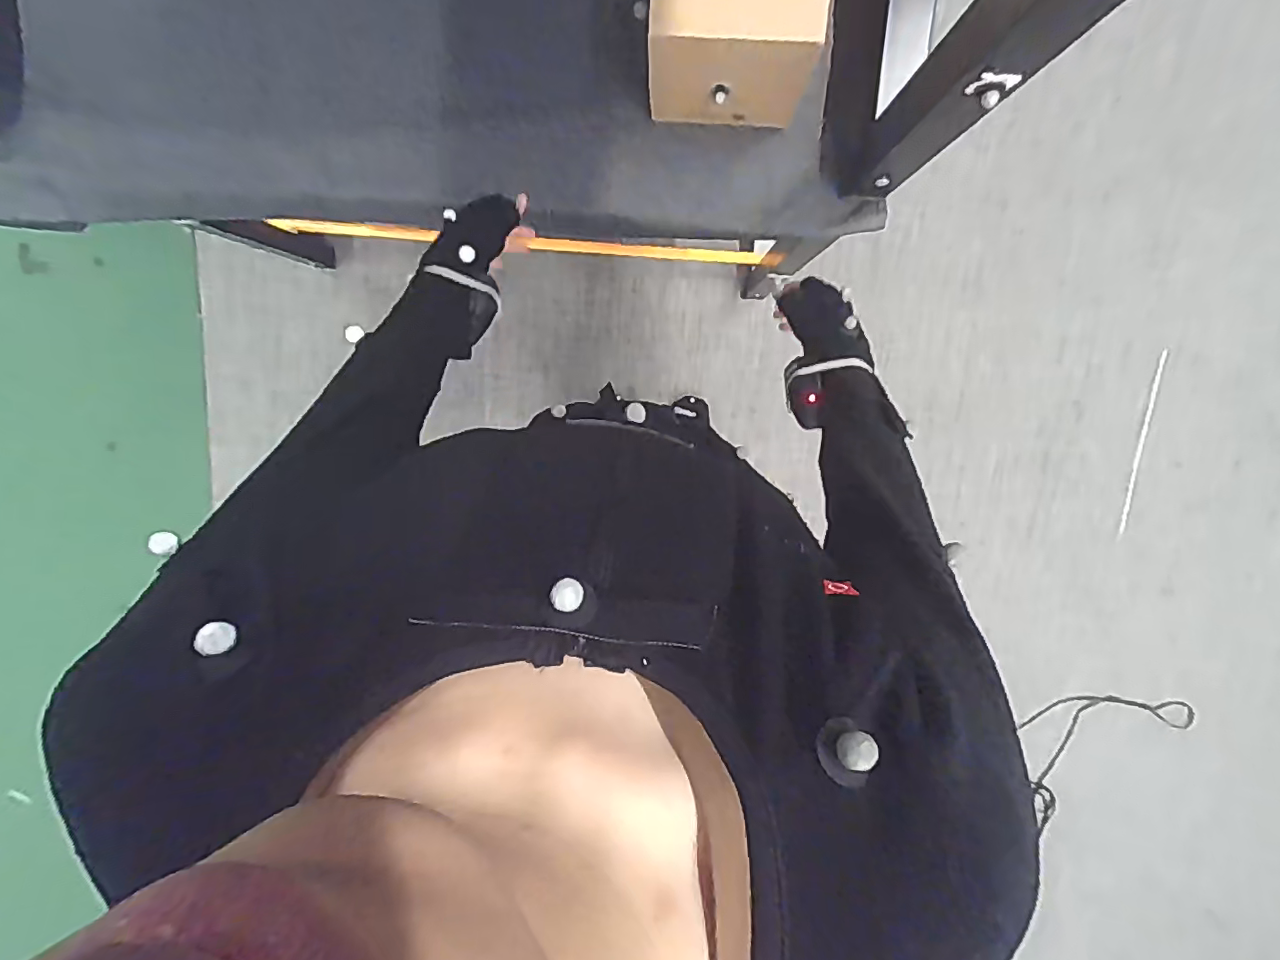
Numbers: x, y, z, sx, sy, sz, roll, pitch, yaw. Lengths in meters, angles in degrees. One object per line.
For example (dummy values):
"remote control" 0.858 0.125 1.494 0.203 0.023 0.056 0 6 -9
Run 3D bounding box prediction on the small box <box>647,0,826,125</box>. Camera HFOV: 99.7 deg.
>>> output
"small box" 0.098 -0.506 0.569 0.168 0.176 0.179 4 100 1
